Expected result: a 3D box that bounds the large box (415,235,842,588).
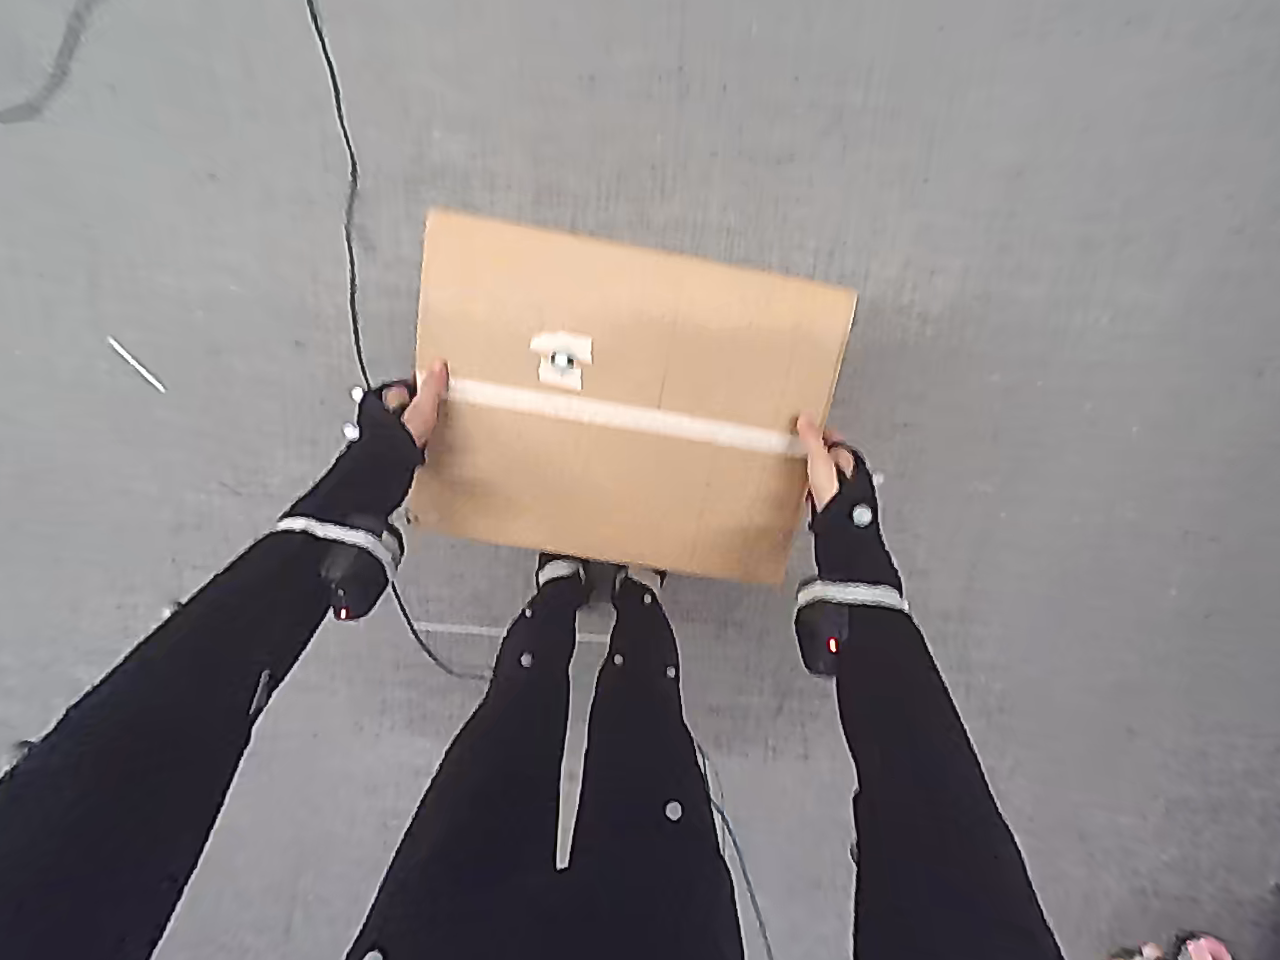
[{"bbox_3d":[-0.020,-0.094,0.692,0.408,0.320,0.320,10,105,-2],"label":"large box"}]
